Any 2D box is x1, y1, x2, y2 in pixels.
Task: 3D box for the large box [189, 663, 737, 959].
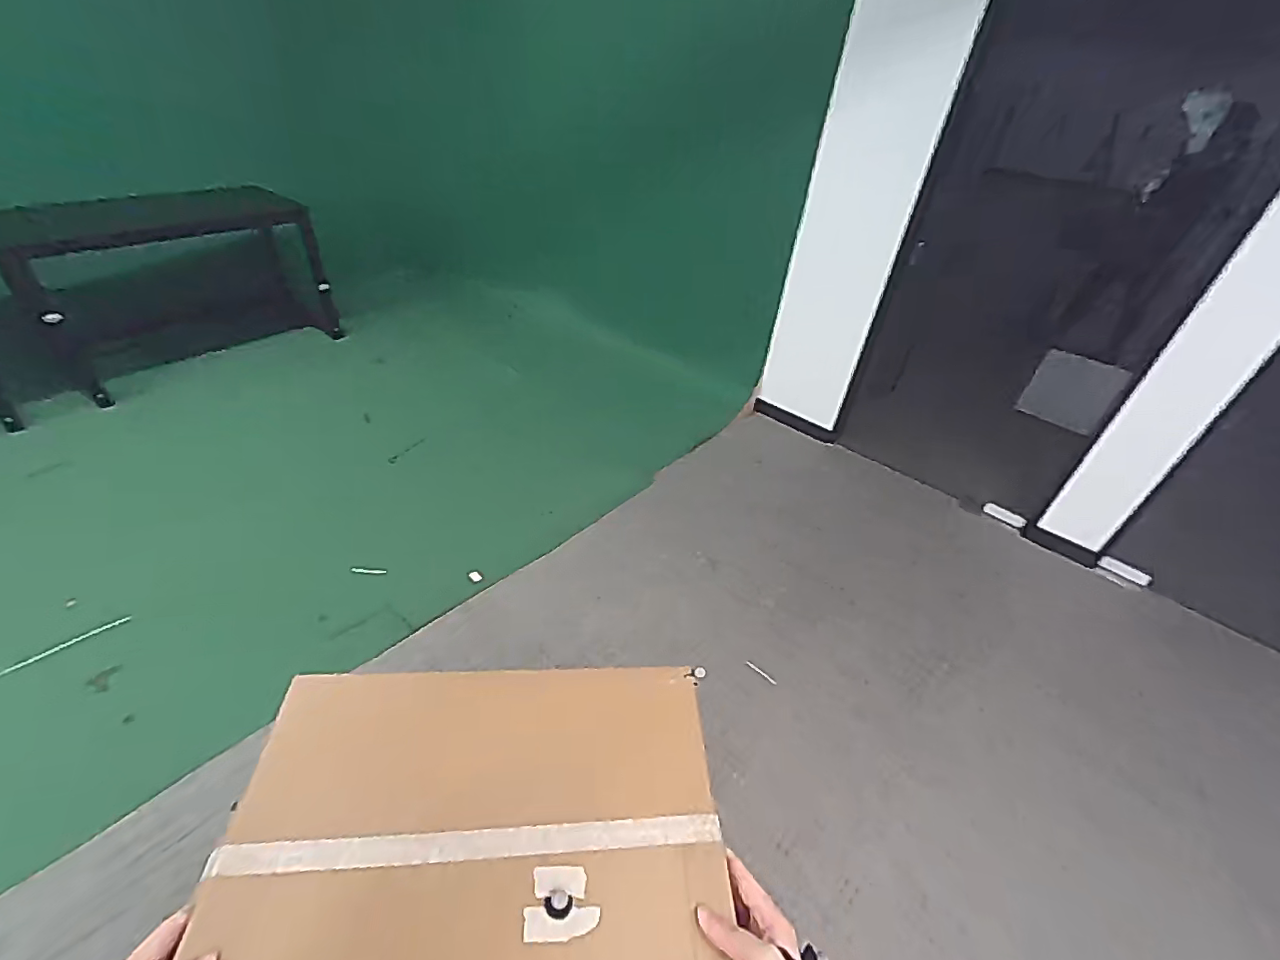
[{"bbox_3d":[-0.149,0.414,0.557,0.408,0.320,0.320,2,41,-8],"label":"large box"}]
